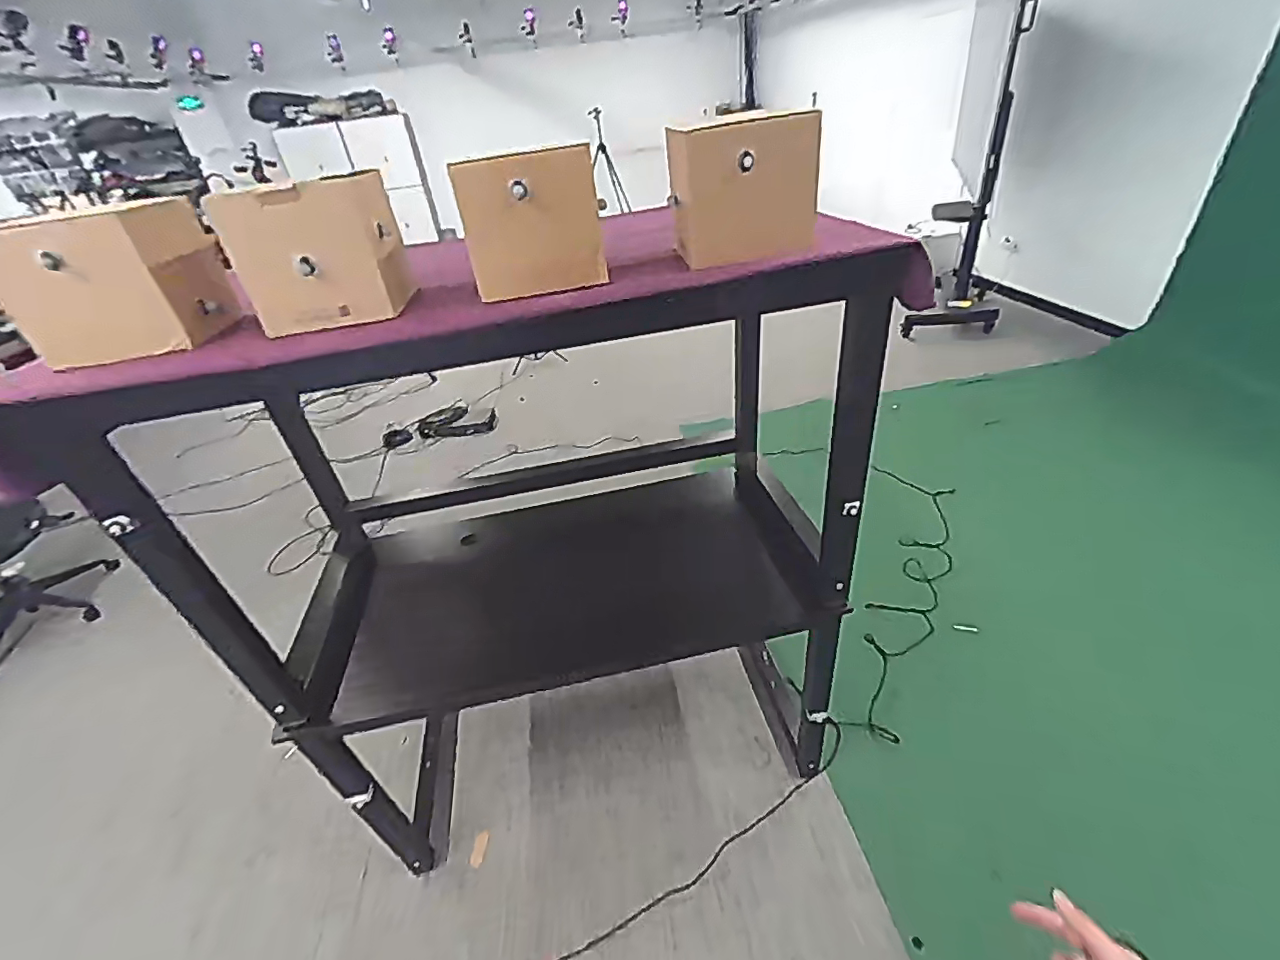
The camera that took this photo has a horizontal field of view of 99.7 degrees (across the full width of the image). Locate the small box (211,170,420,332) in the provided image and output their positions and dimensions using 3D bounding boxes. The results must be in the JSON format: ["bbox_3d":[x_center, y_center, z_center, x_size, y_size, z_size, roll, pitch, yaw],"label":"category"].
[{"bbox_3d":[-0.418,-0.310,0.738,0.168,0.176,0.179,-11,34,-5],"label":"small box"}]

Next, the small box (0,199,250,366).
[{"bbox_3d":[-0.674,-0.261,0.715,0.179,0.176,0.168,-10,34,-6],"label":"small box"}]

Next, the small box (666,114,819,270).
[{"bbox_3d":[0.141,-0.411,0.775,0.179,0.176,0.168,-9,35,-1],"label":"small box"}]

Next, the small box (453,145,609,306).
[{"bbox_3d":[-0.141,-0.360,0.760,0.179,0.176,0.168,-11,33,-3],"label":"small box"}]
